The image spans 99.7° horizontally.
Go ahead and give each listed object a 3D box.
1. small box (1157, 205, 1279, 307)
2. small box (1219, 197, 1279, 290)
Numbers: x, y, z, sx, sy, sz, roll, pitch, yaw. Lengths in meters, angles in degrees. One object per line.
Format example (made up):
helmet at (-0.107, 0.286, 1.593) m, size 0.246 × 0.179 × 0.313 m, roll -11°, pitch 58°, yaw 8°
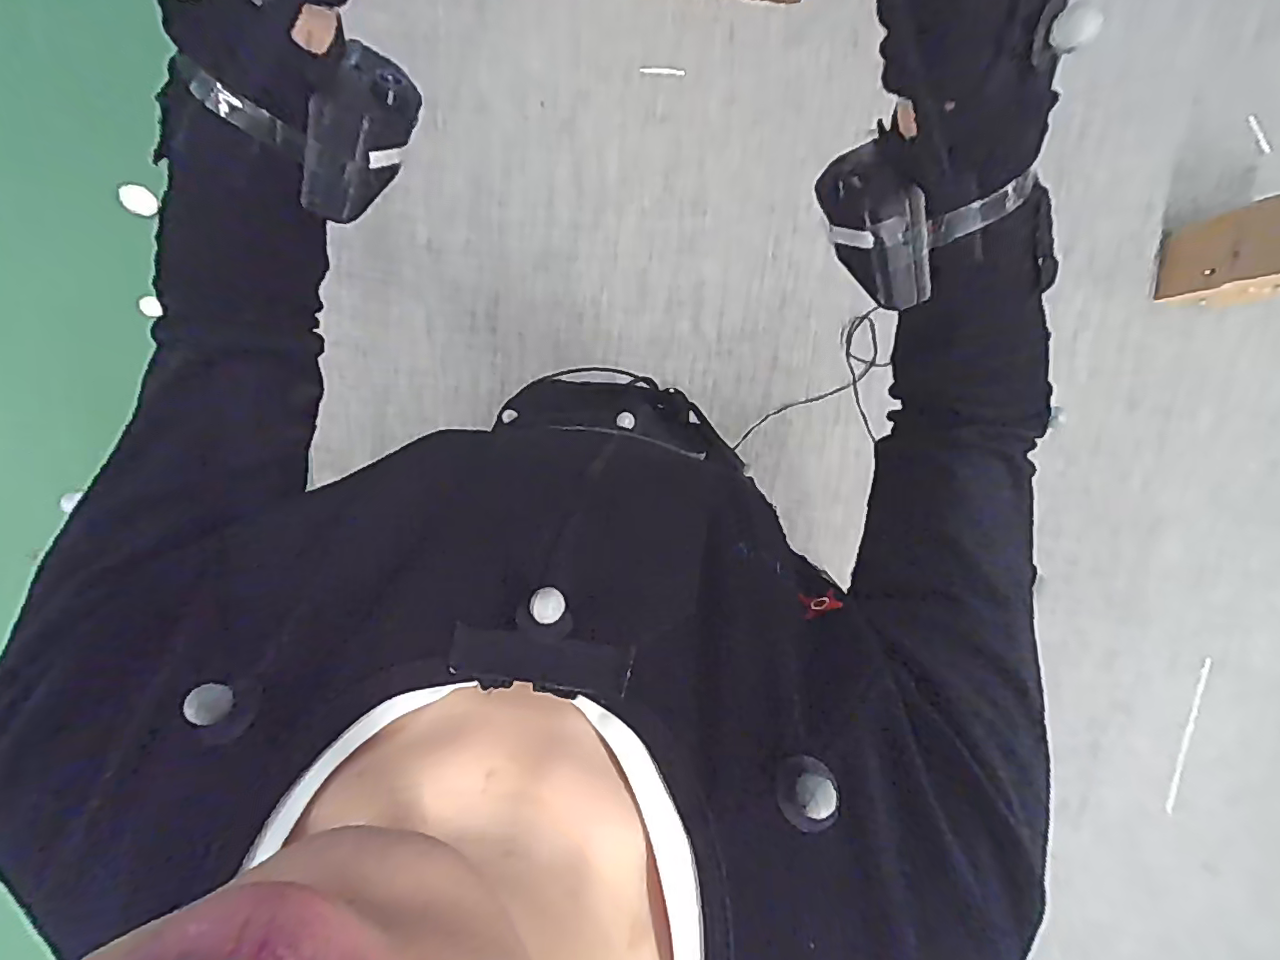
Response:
small box at (1.359, -0.509, 1.247) m, size 0.168 × 0.176 × 0.179 m, roll 5°, pitch 100°, yaw 2°
small box at (1.351, -0.483, 1.085) m, size 0.179 × 0.176 × 0.168 m, roll 5°, pitch 99°, yaw 1°
